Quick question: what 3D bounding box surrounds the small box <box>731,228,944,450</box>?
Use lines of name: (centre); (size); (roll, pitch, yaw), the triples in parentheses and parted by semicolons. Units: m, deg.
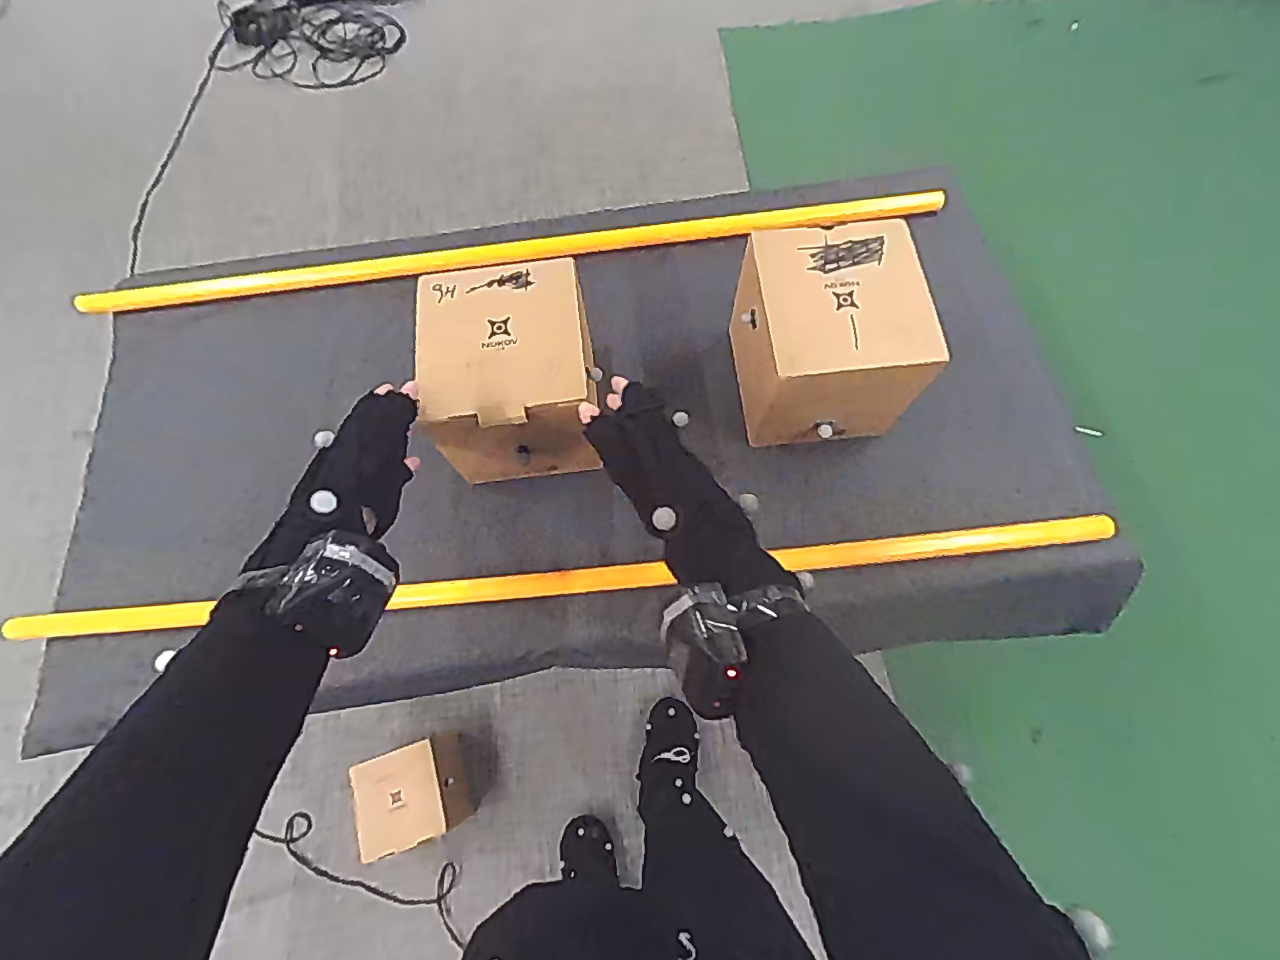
small box: (0.203, -0.152, 0.616); (0.168, 0.176, 0.179); (-6, 70, 0)

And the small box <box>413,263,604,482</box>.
small box: (-0.140, -0.108, 0.615); (0.168, 0.176, 0.179); (-11, 69, -1)
